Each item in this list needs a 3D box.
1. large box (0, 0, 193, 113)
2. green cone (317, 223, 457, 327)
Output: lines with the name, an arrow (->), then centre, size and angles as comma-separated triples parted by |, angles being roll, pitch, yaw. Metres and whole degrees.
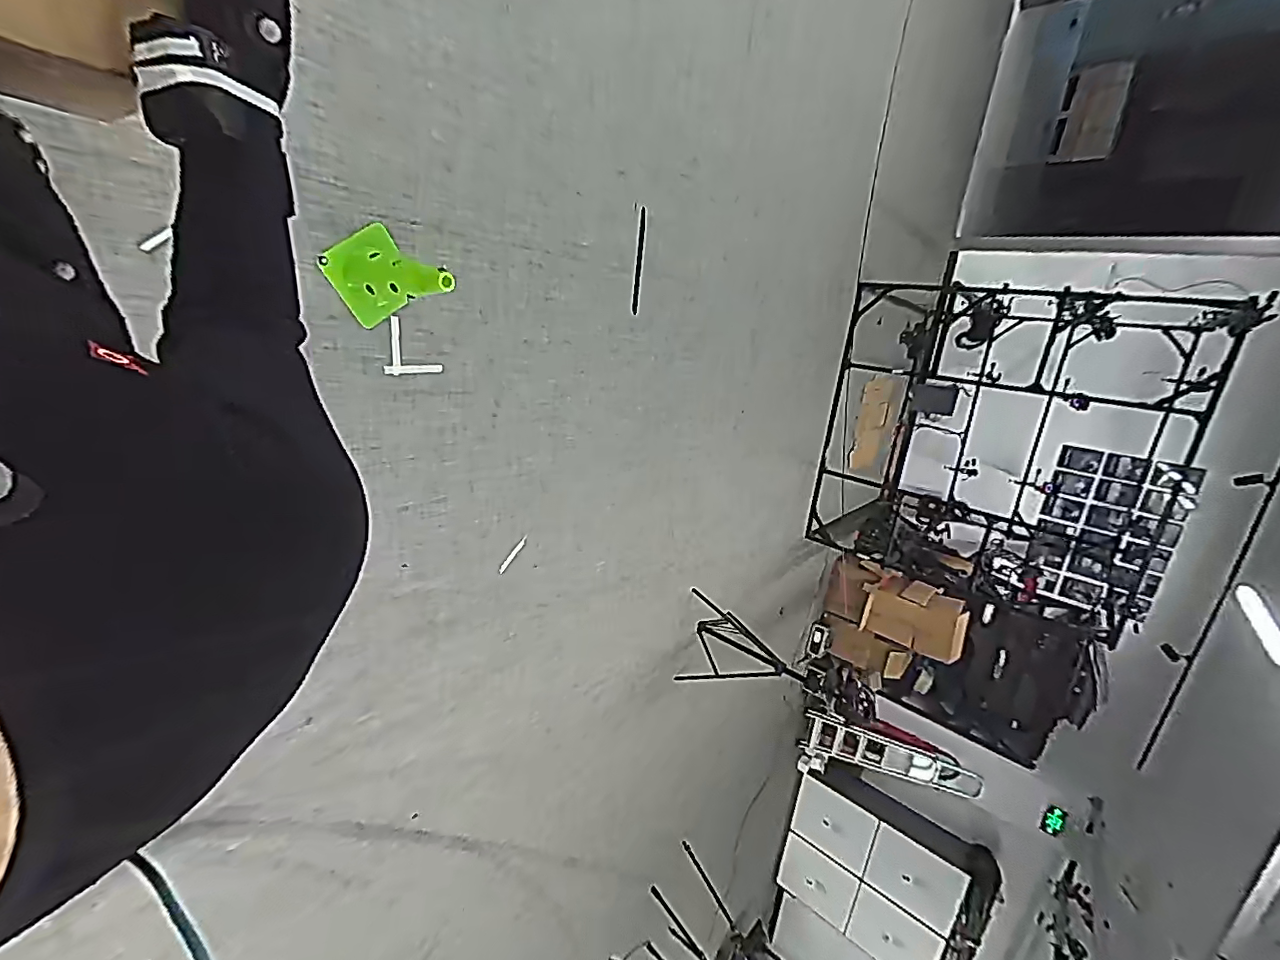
large box -> -0.540, -0.446, 0.279 | 0.408, 0.320, 0.320 | -12, 118, -51
green cone -> -0.561, -0.480, 1.292 | 0.202, 0.368, 0.200 | -52, 140, -27
